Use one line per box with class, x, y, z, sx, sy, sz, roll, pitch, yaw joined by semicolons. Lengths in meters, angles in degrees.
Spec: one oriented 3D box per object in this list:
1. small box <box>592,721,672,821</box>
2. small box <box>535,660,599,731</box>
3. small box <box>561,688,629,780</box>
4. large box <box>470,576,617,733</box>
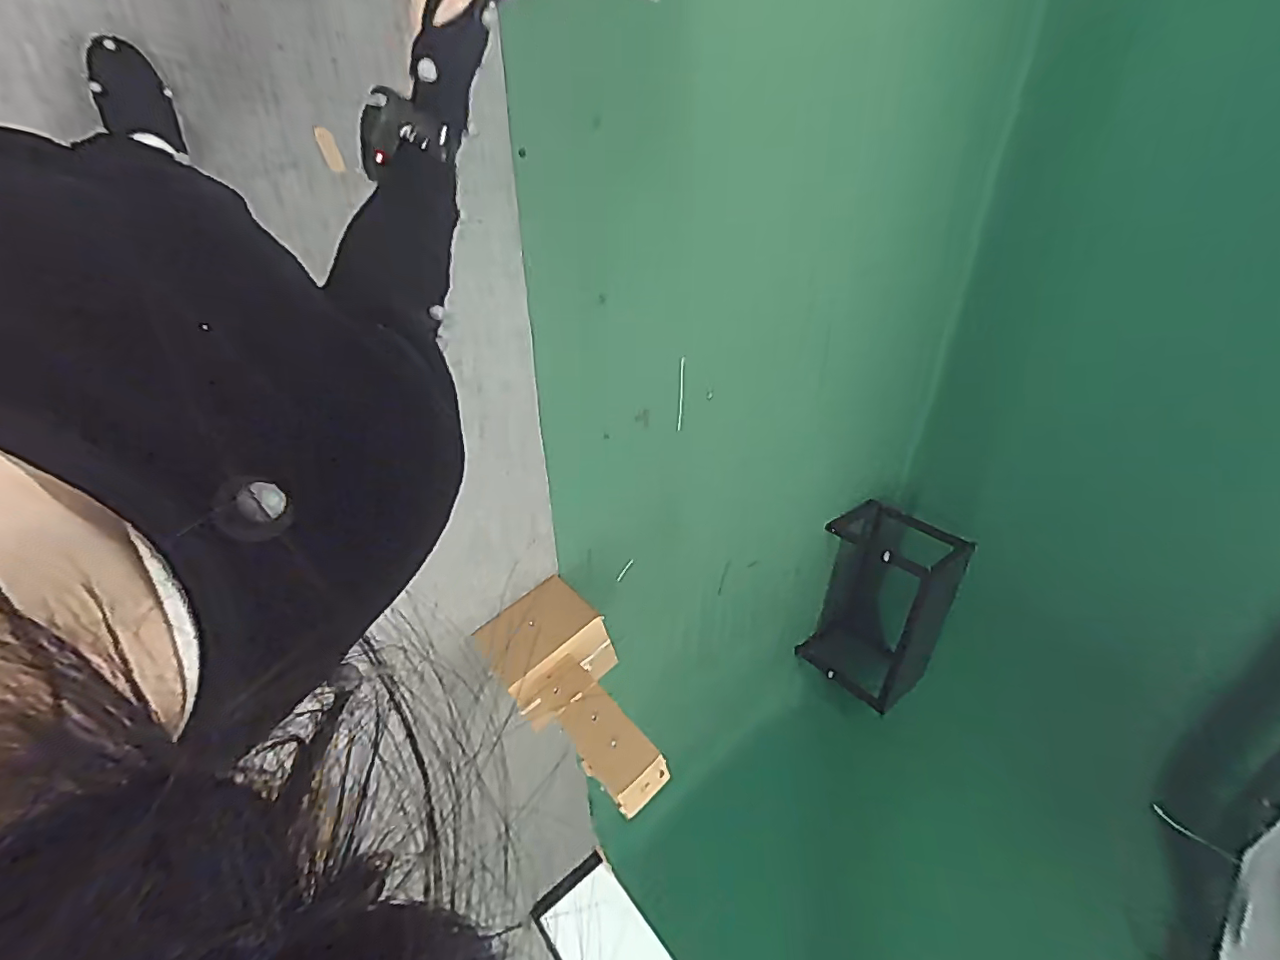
small box;-0.031;0.888;1.659;0.179;0.176;0.168;-34;132;-23
small box;-0.240;0.758;1.876;0.168;0.176;0.179;-34;133;-24
small box;-0.138;0.825;1.767;0.179;0.176;0.168;-36;133;-24
large box;-0.362;0.653;2.064;0.408;0.320;0.320;-36;134;-25
